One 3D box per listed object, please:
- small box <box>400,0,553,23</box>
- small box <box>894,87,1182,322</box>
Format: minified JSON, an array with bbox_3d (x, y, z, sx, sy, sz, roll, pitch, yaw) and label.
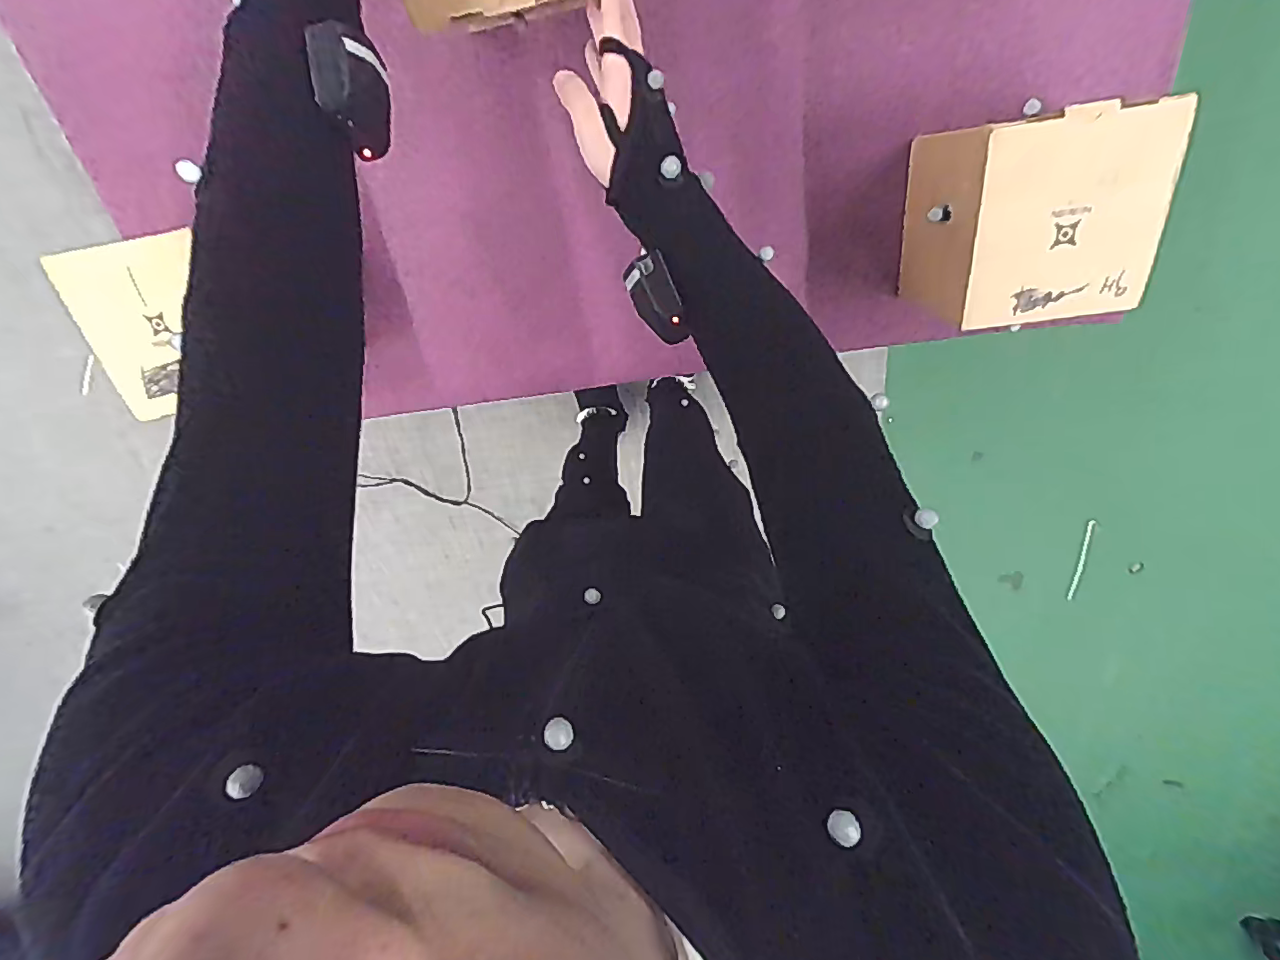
[{"bbox_3d":[-0.125,-0.504,0.443,0.168,0.176,0.179,-6,132,7],"label":"small box"},{"bbox_3d":[0.380,-0.278,0.560,0.168,0.176,0.179,-5,119,7],"label":"small box"}]
